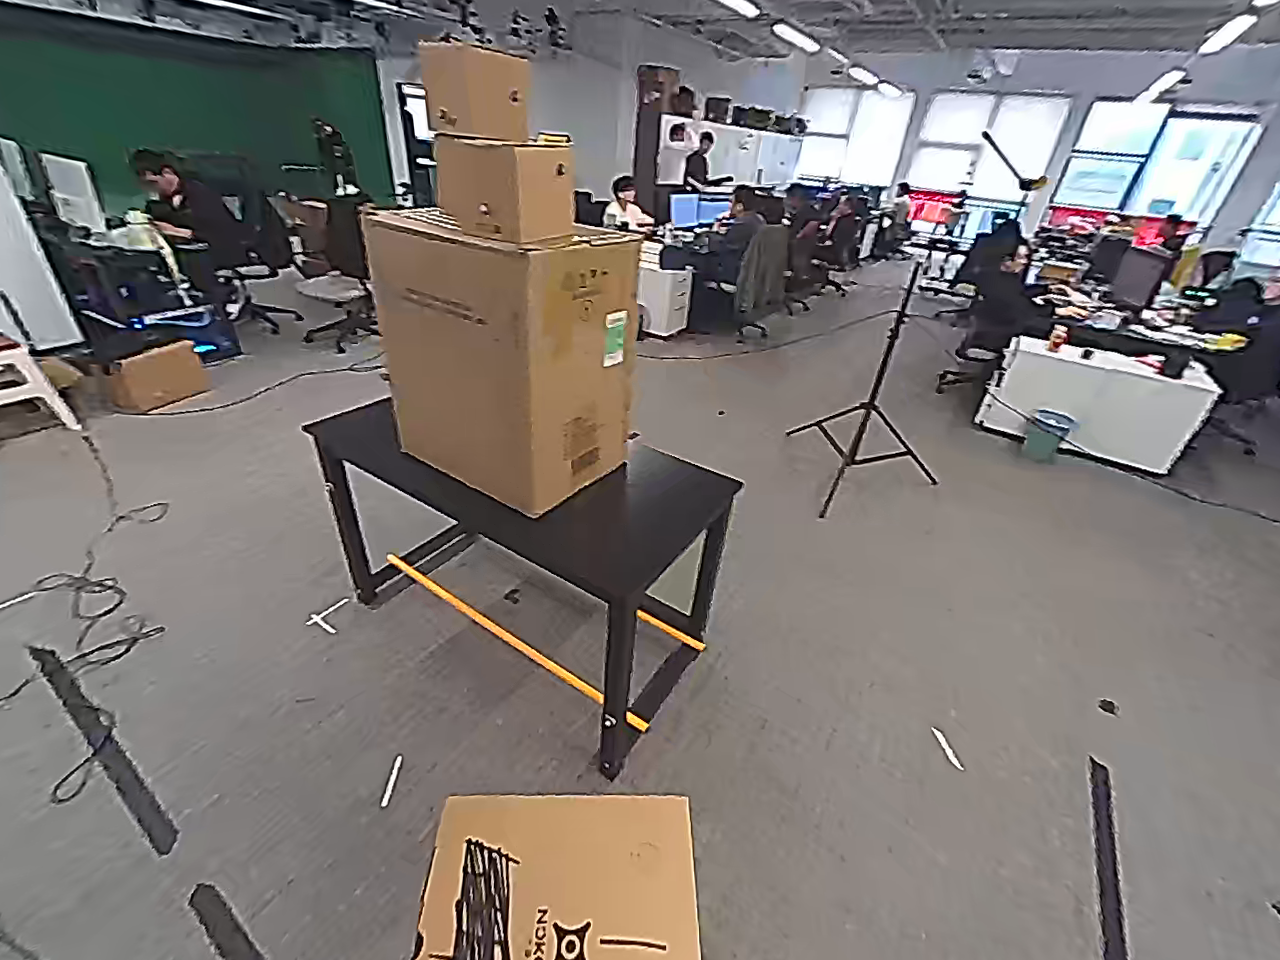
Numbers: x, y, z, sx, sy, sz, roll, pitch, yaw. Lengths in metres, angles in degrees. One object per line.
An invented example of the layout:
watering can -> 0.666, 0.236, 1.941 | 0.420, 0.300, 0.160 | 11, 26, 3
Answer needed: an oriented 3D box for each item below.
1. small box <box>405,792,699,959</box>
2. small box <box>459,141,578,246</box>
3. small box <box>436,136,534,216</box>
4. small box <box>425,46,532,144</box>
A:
small box -> -0.055, 0.339, 0.376 | 0.179, 0.176, 0.168 | 2, 40, -4
small box -> -0.243, -0.589, 1.107 | 0.168, 0.176, 0.179 | 20, 36, 25
small box -> -0.377, -0.753, 1.351 | 0.168, 0.176, 0.179 | 24, 37, 25
small box -> -0.369, -0.884, 1.252 | 0.168, 0.176, 0.179 | 24, 37, 27
